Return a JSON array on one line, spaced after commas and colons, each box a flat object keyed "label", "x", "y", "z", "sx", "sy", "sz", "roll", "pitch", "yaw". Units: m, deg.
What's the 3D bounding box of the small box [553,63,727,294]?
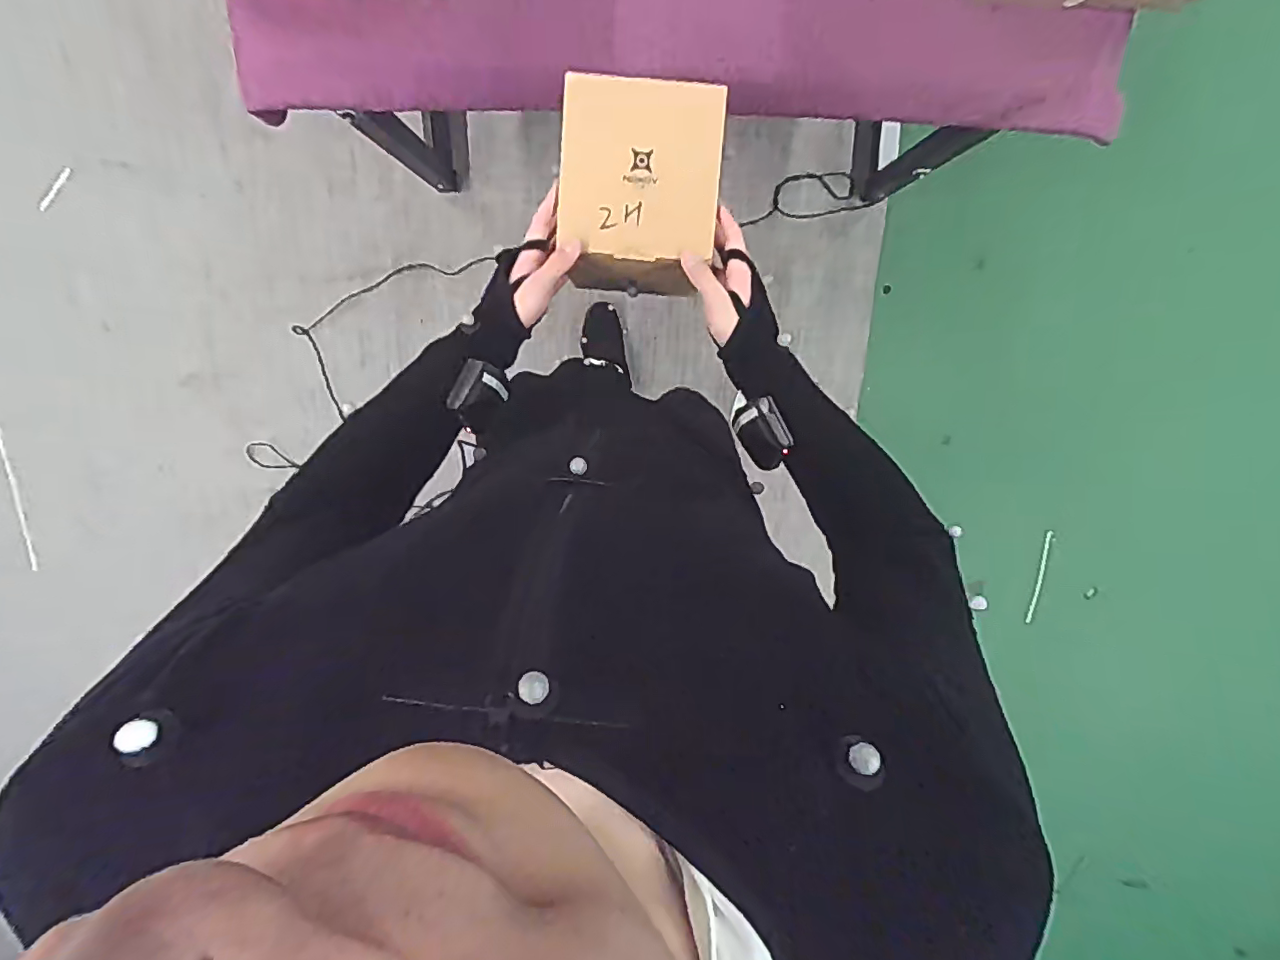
[{"label": "small box", "x": -0.002, "y": -0.330, "z": 0.625, "sx": 0.168, "sy": 0.176, "sz": 0.179, "roll": 5, "pitch": 97, "yaw": 0}]
